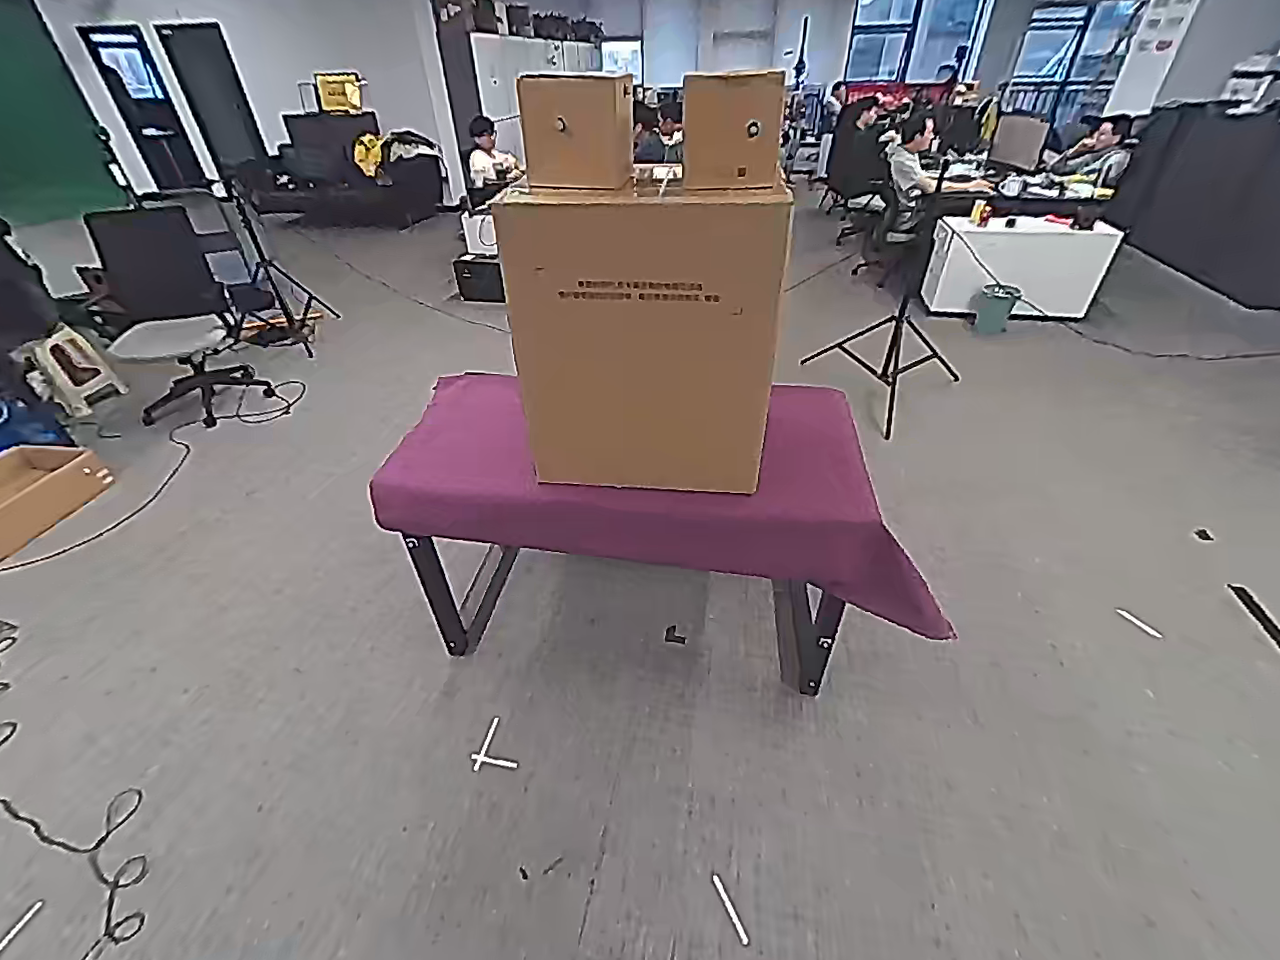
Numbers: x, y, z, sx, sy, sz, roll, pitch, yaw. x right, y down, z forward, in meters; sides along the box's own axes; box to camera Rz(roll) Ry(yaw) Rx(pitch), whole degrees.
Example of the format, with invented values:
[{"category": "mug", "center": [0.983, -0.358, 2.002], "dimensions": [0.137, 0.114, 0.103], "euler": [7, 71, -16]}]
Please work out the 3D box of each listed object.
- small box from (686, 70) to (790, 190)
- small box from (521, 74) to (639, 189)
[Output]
[{"category": "small box", "center": [0.169, -0.628, 0.975], "dimensions": [0.168, 0.176, 0.179], "euler": [3, 37, 5]}, {"category": "small box", "center": [-0.102, -0.647, 1.006], "dimensions": [0.179, 0.176, 0.168], "euler": [5, 39, 8]}]
